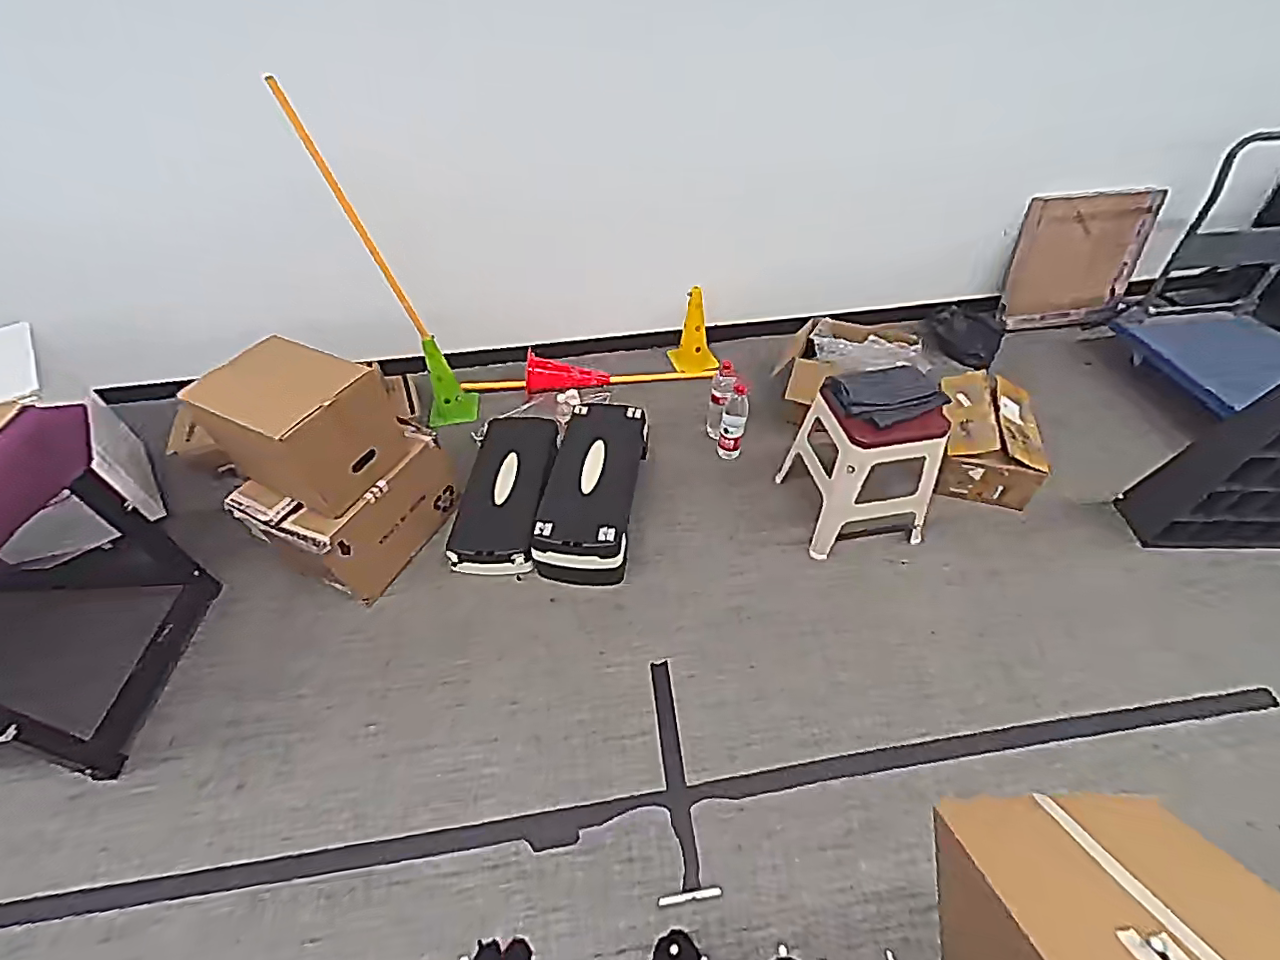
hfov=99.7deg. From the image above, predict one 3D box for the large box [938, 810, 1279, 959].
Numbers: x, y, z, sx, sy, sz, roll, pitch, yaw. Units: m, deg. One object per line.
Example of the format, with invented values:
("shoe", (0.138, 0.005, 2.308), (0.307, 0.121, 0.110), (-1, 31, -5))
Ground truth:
("large box", (0.597, 0.660, 0.624), (0.320, 0.320, 0.408), (-4, 2, 5))
